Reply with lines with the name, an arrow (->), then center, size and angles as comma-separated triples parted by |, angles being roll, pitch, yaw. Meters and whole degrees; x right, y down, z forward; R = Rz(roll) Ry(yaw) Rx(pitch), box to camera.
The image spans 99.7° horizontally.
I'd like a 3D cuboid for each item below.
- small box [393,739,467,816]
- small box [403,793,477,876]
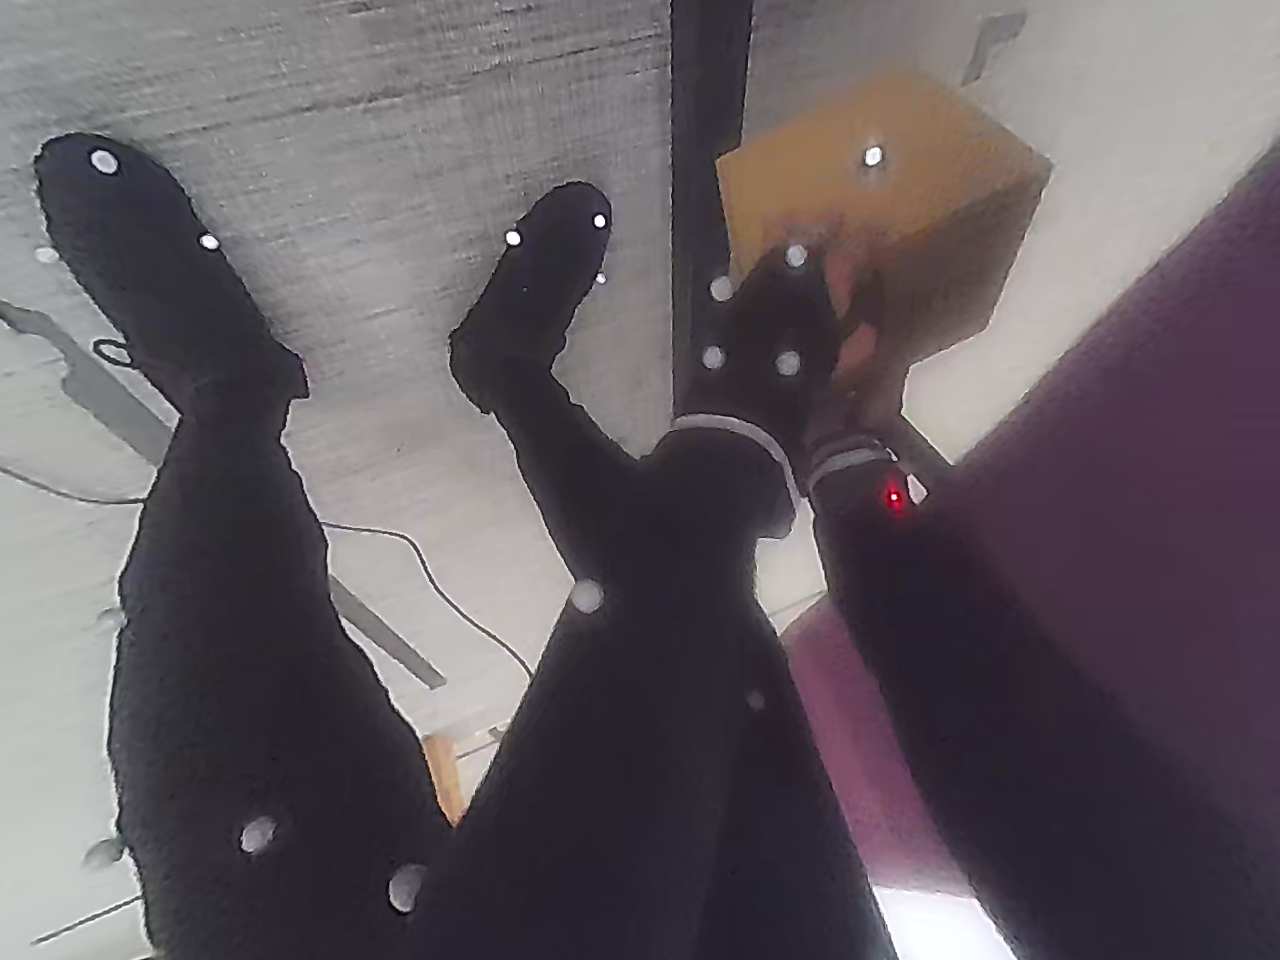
small box -> -0.690, 0.977, 1.767 | 0.179, 0.176, 0.168 | -21, 146, -10
small box -> -0.623, 1.103, 1.688 | 0.168, 0.176, 0.179 | -18, 144, -13
